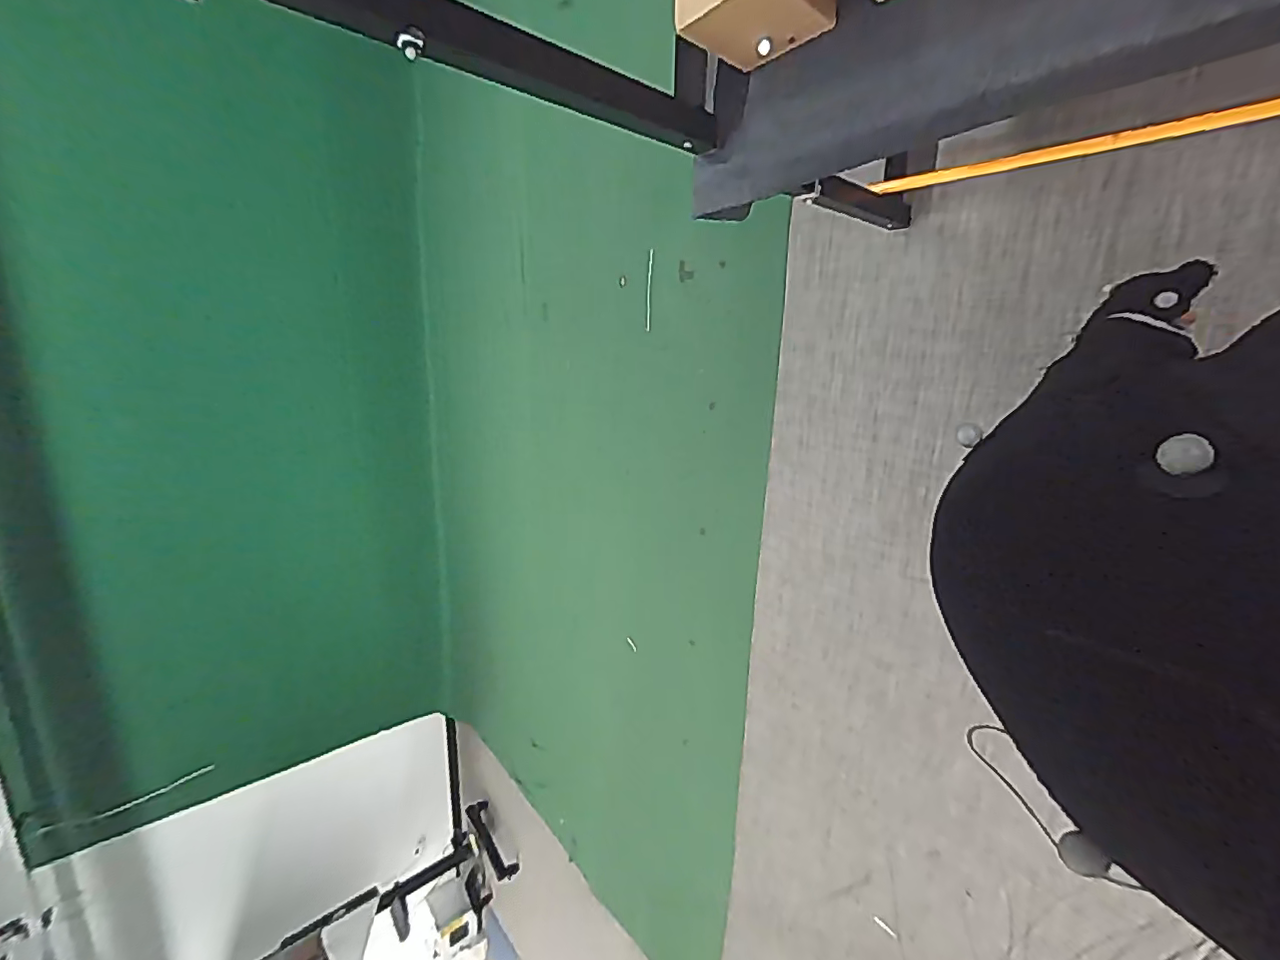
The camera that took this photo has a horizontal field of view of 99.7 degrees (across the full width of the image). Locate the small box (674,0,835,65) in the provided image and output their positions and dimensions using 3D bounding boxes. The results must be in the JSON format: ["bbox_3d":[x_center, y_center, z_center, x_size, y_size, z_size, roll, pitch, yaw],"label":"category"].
[{"bbox_3d":[0.167,-0.741,0.765,0.168,0.176,0.179,13,108,48],"label":"small box"}]
